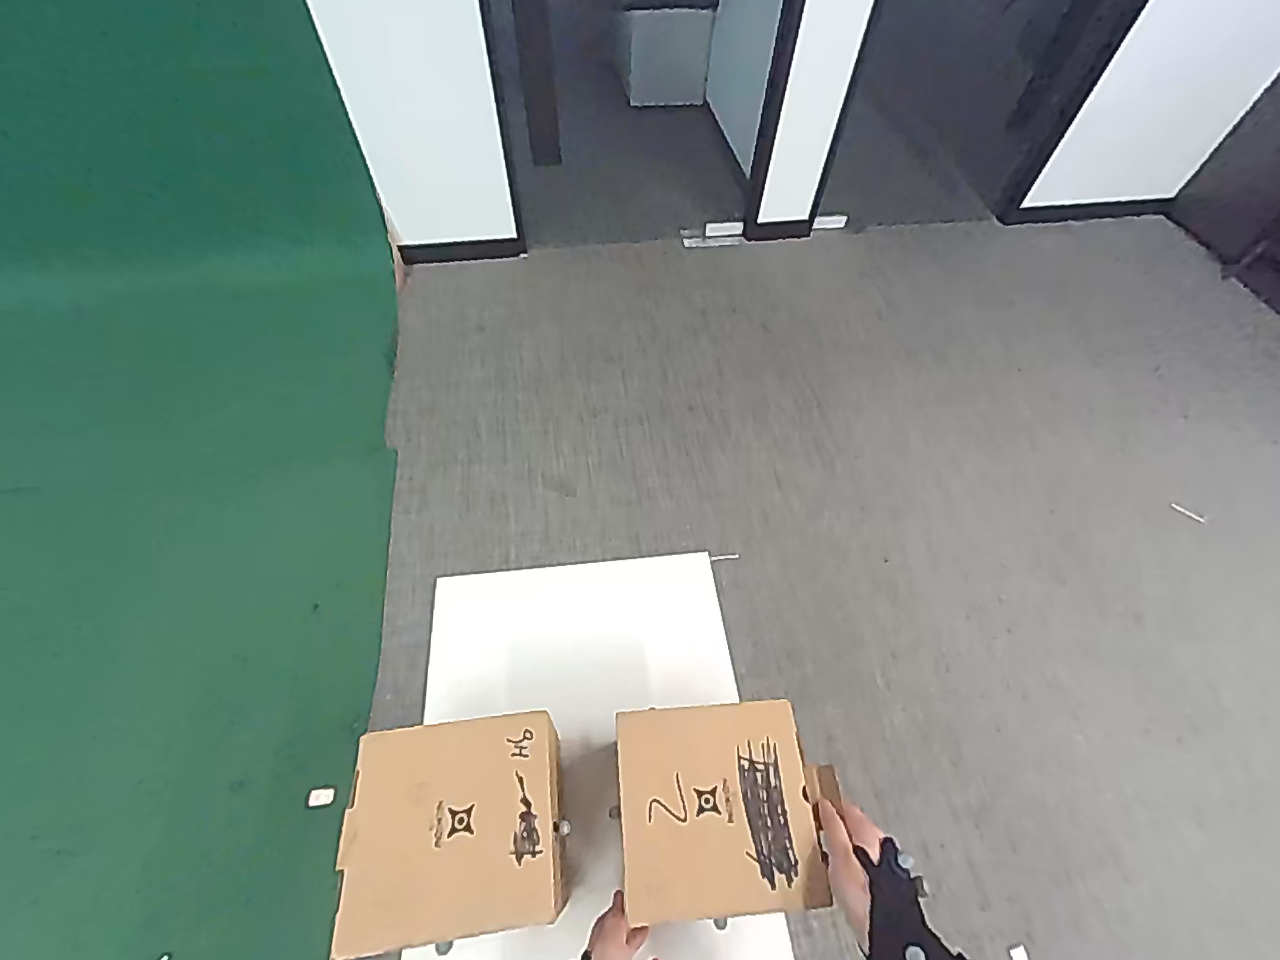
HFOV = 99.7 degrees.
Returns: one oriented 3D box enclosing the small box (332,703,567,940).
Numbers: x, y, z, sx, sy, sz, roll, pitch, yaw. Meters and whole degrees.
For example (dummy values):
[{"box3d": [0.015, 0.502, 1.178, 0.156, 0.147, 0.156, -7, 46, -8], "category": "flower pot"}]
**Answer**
[{"box3d": [-0.169, 0.337, 0.542, 0.179, 0.176, 0.168, -4, 56, -7], "category": "small box"}]
